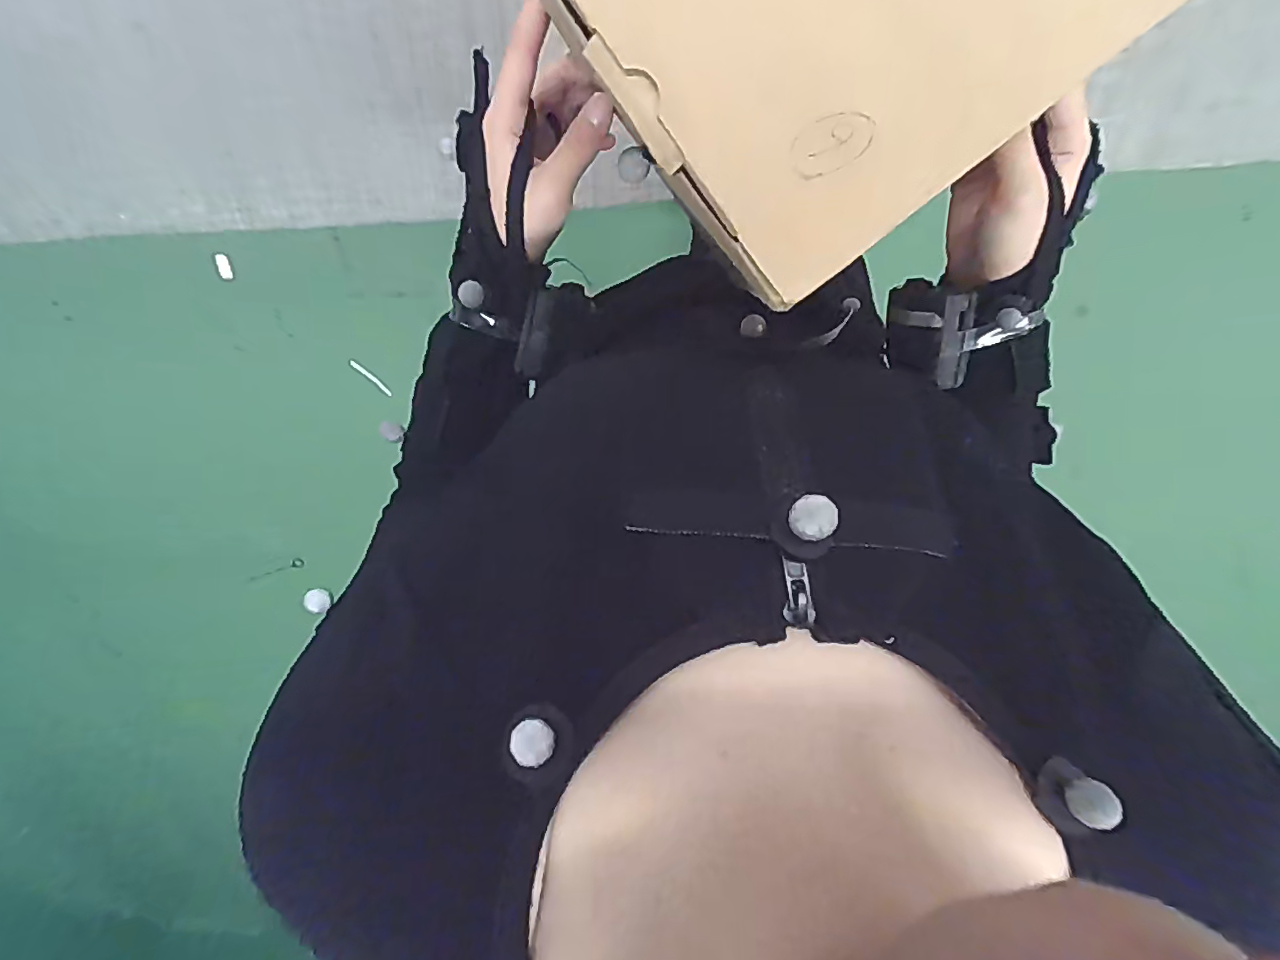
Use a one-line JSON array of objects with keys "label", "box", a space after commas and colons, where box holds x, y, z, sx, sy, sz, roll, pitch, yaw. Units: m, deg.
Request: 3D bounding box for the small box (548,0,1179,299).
[{"label": "small box", "box": [0.071, -0.198, 0.217, 0.179, 0.176, 0.168, -36, 105, 18]}]
